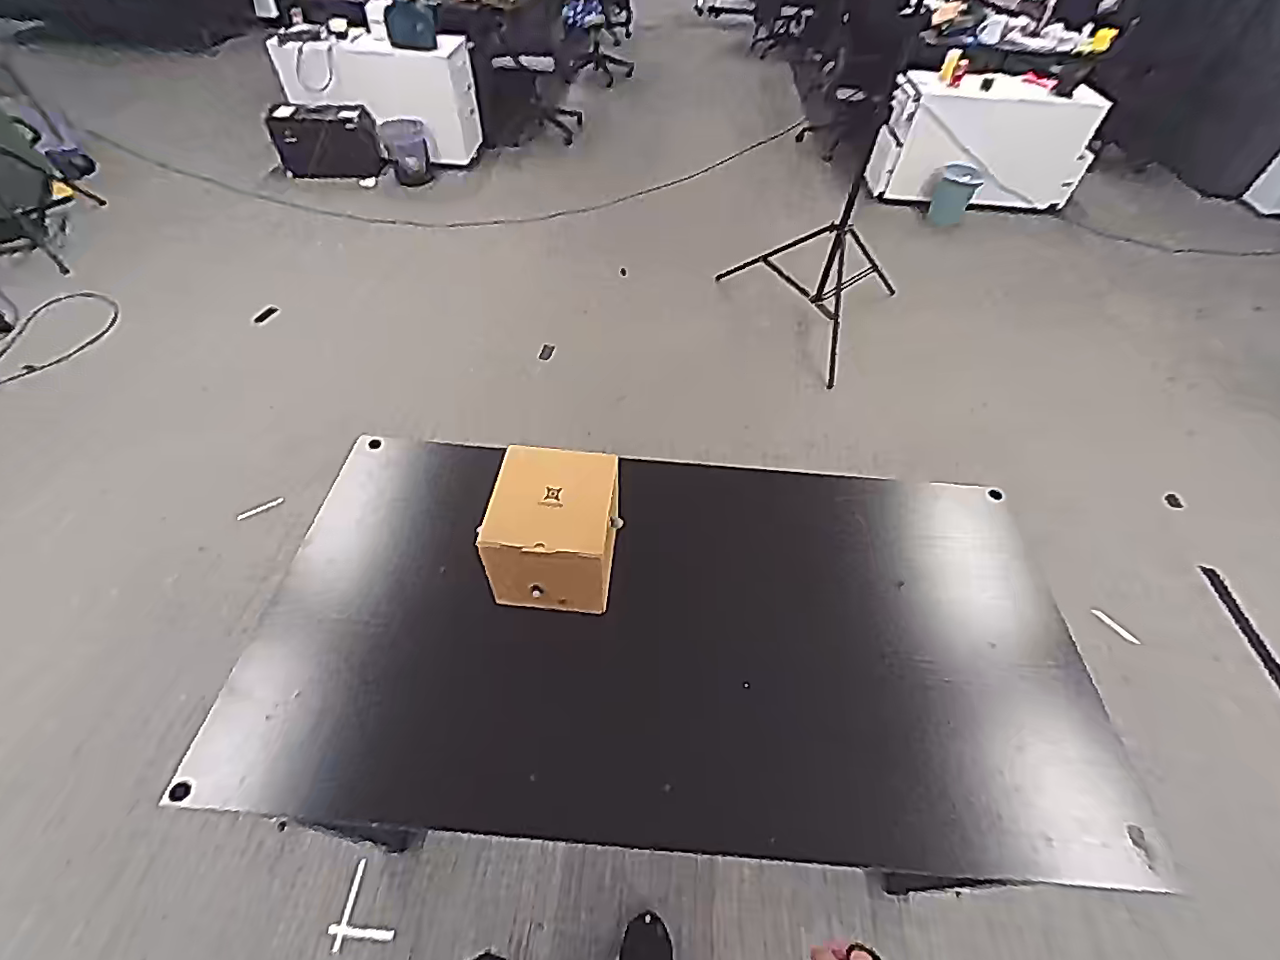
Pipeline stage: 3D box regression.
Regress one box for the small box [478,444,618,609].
[{"bbox_3d":[-0.126,0.071,0.812,0.168,0.176,0.179,5,51,2],"label":"small box"}]
